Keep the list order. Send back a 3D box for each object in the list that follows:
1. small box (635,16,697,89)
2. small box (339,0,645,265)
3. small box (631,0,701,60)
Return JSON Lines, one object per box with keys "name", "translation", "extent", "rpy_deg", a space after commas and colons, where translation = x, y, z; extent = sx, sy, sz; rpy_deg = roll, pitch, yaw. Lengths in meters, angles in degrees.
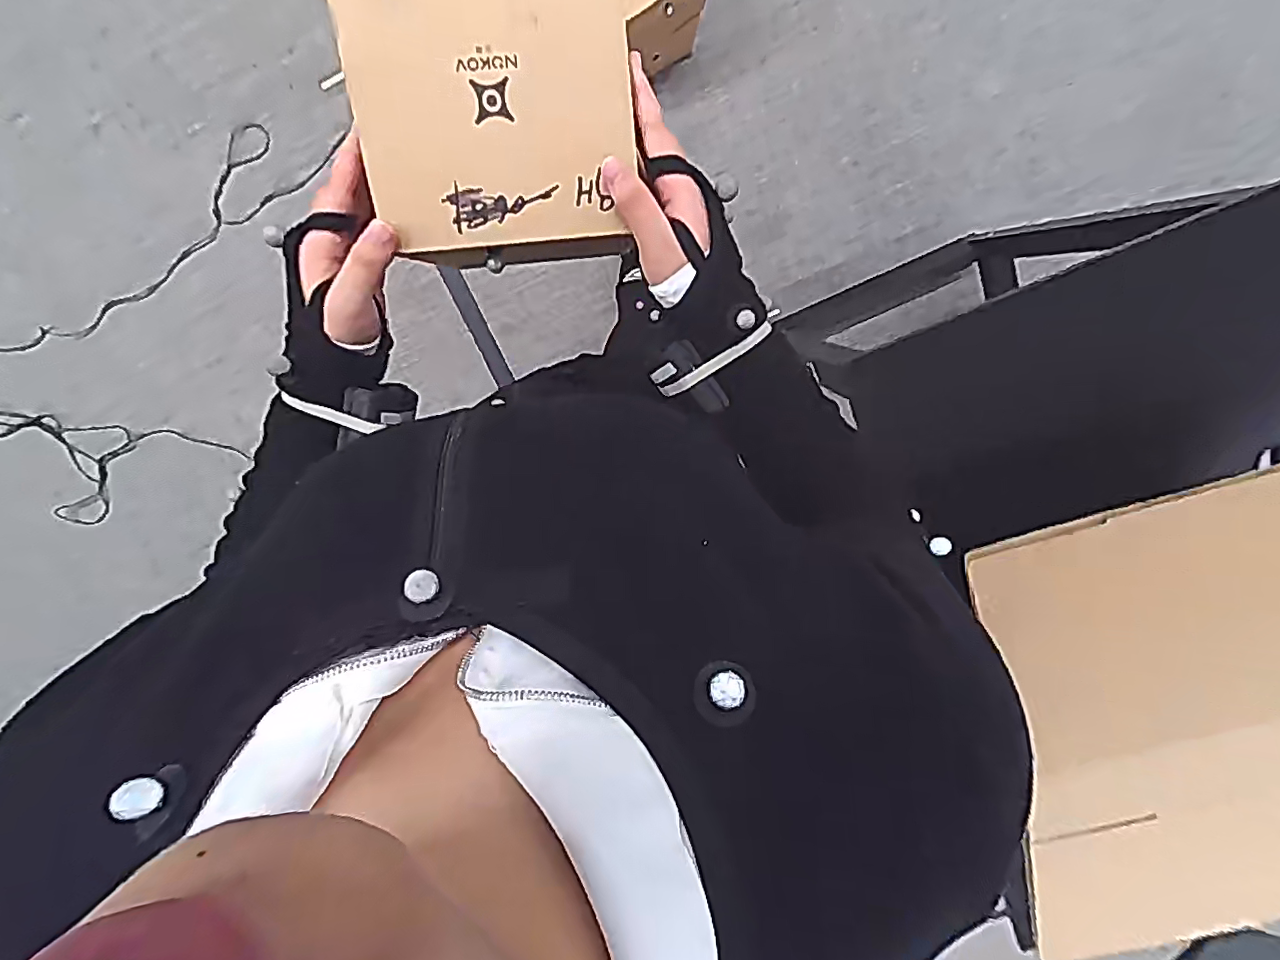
{"name": "small box", "translation": [-0.002, -0.936, 1.104], "extent": [0.179, 0.176, 0.168], "rpy_deg": [-26, 106, 9]}
{"name": "small box", "translation": [-0.091, -0.262, 0.392], "extent": [0.168, 0.176, 0.179], "rpy_deg": [-6, 108, -3]}
{"name": "small box", "translation": [0.004, -0.888, 0.949], "extent": [0.179, 0.176, 0.168], "rpy_deg": [-29, 107, 8]}
